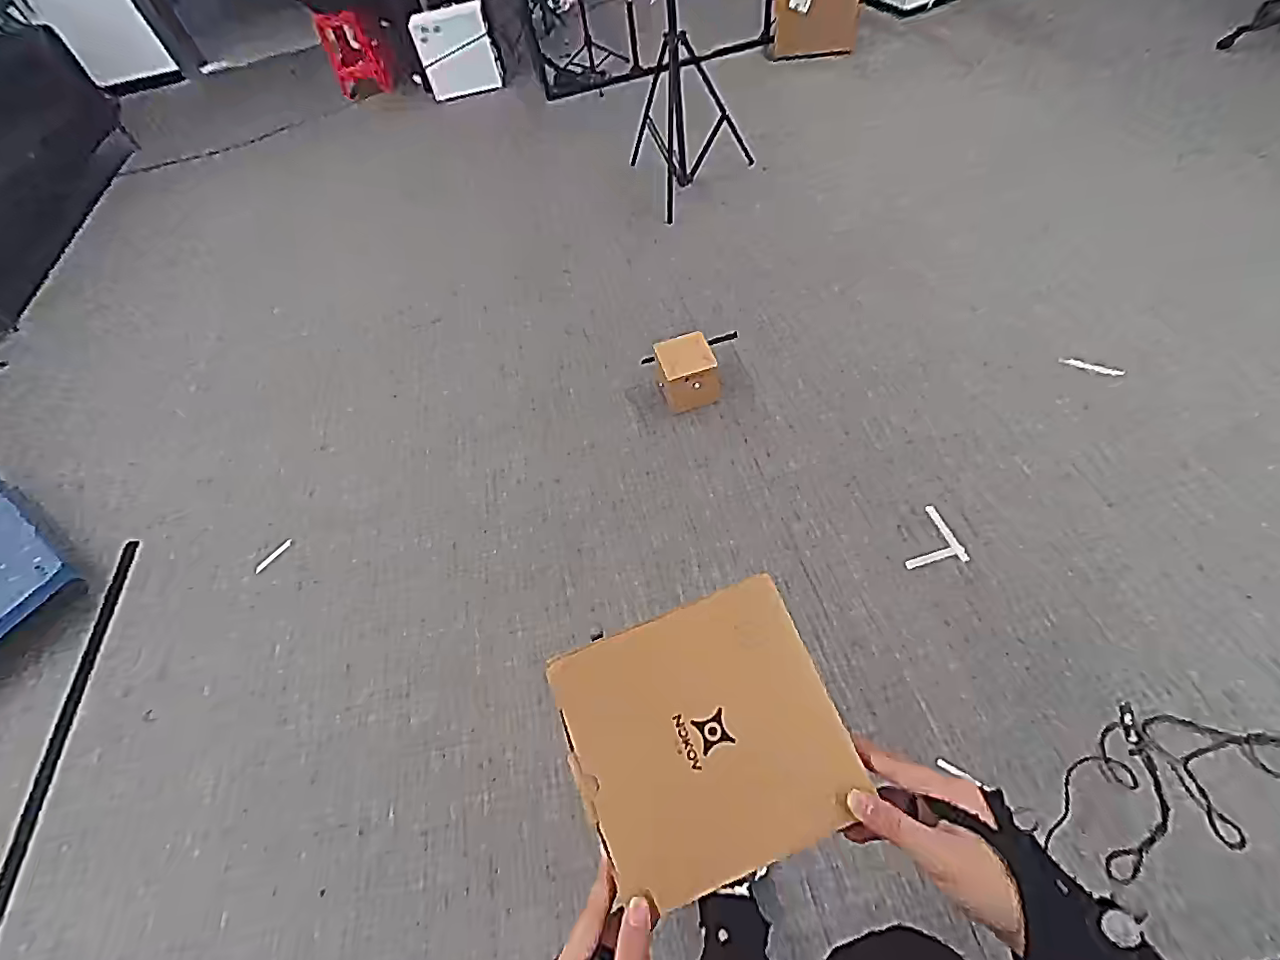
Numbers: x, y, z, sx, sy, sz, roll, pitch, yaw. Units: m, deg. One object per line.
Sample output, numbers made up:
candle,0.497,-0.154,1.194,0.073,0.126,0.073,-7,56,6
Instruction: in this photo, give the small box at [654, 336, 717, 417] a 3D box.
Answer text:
small box,0.148,-0.344,1.778,0.168,0.176,0.179,-17,55,-2

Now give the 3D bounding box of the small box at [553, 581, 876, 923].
small box,0.047,0.197,0.440,0.179,0.176,0.168,-21,72,-5
